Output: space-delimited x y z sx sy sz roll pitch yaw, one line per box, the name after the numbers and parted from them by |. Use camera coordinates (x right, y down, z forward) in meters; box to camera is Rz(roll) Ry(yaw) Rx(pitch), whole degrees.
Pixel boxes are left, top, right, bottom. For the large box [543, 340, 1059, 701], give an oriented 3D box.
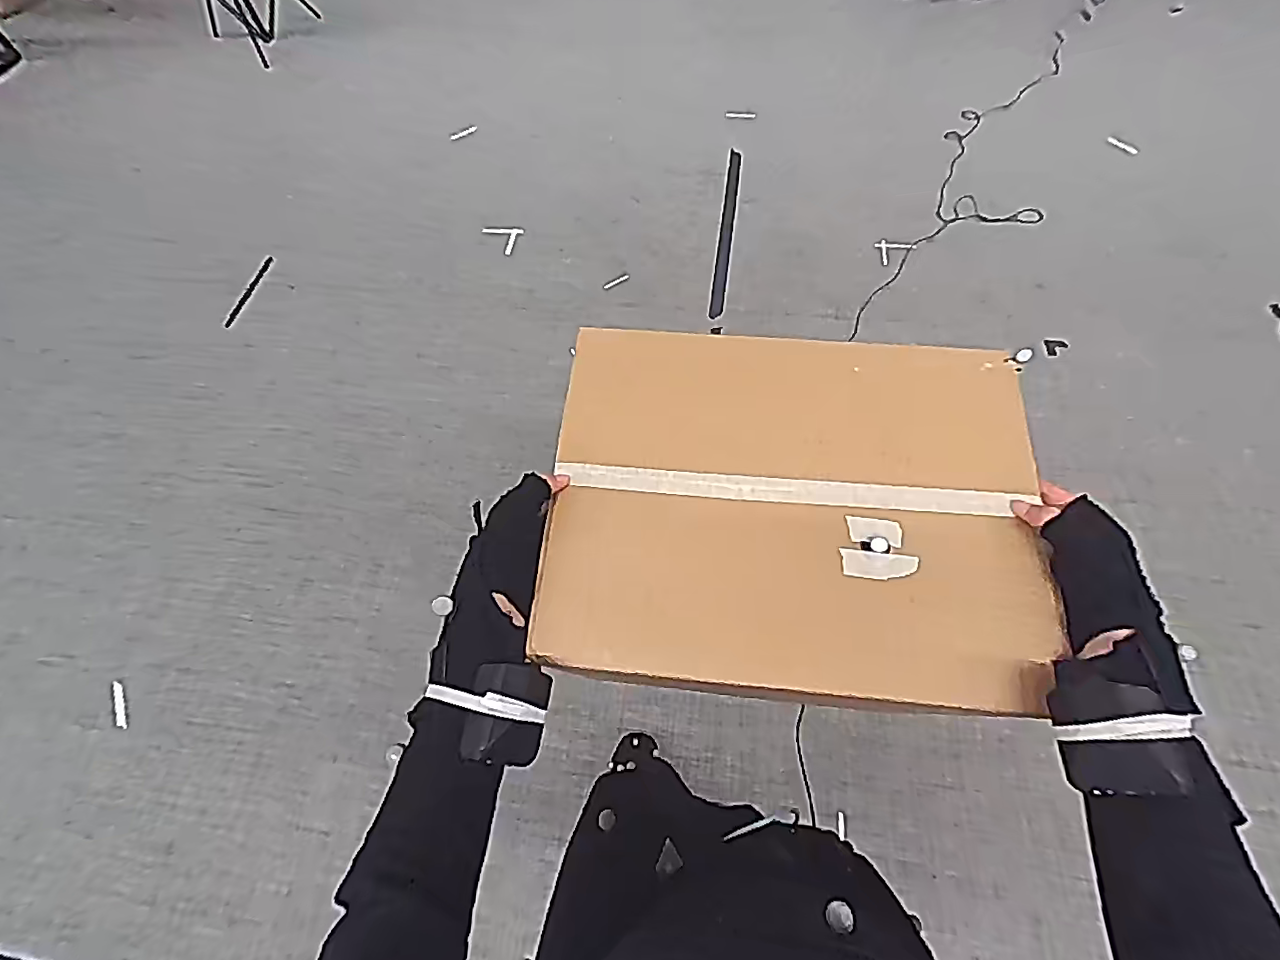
0.134 0.068 0.609 0.408 0.320 0.320 4 69 4 | large box
